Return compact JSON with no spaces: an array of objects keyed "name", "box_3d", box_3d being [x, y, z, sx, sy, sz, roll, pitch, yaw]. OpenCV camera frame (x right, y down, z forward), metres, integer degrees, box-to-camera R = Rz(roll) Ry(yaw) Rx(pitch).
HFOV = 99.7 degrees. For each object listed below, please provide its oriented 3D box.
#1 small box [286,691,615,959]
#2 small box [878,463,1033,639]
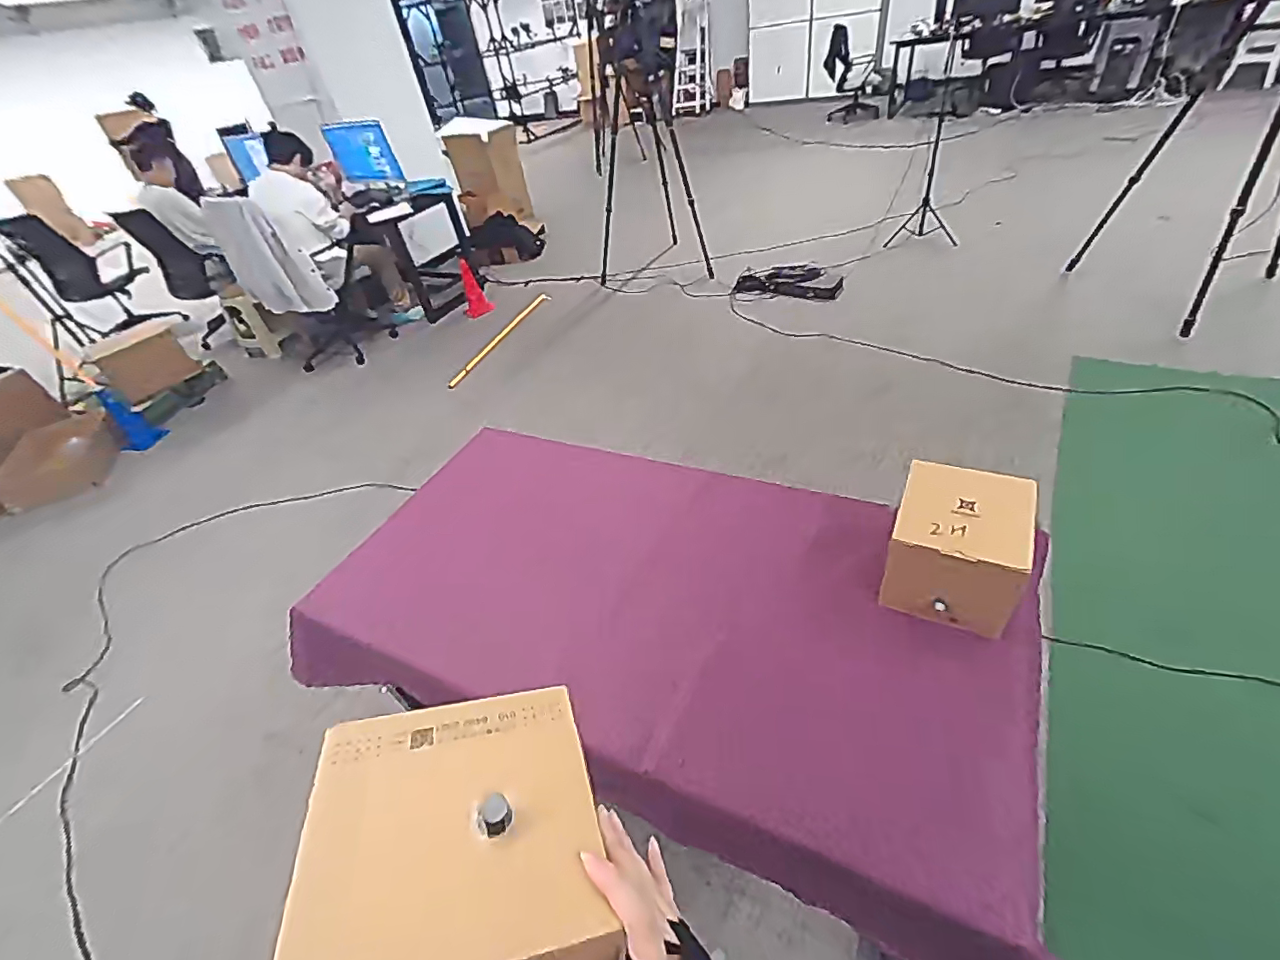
[{"name":"small box","box_3d":[-0.123,0.266,0.368,0.168,0.179,0.176,-3,29,-18]},{"name":"small box","box_3d":[0.469,0.105,0.818,0.168,0.176,0.179,14,50,28]}]
